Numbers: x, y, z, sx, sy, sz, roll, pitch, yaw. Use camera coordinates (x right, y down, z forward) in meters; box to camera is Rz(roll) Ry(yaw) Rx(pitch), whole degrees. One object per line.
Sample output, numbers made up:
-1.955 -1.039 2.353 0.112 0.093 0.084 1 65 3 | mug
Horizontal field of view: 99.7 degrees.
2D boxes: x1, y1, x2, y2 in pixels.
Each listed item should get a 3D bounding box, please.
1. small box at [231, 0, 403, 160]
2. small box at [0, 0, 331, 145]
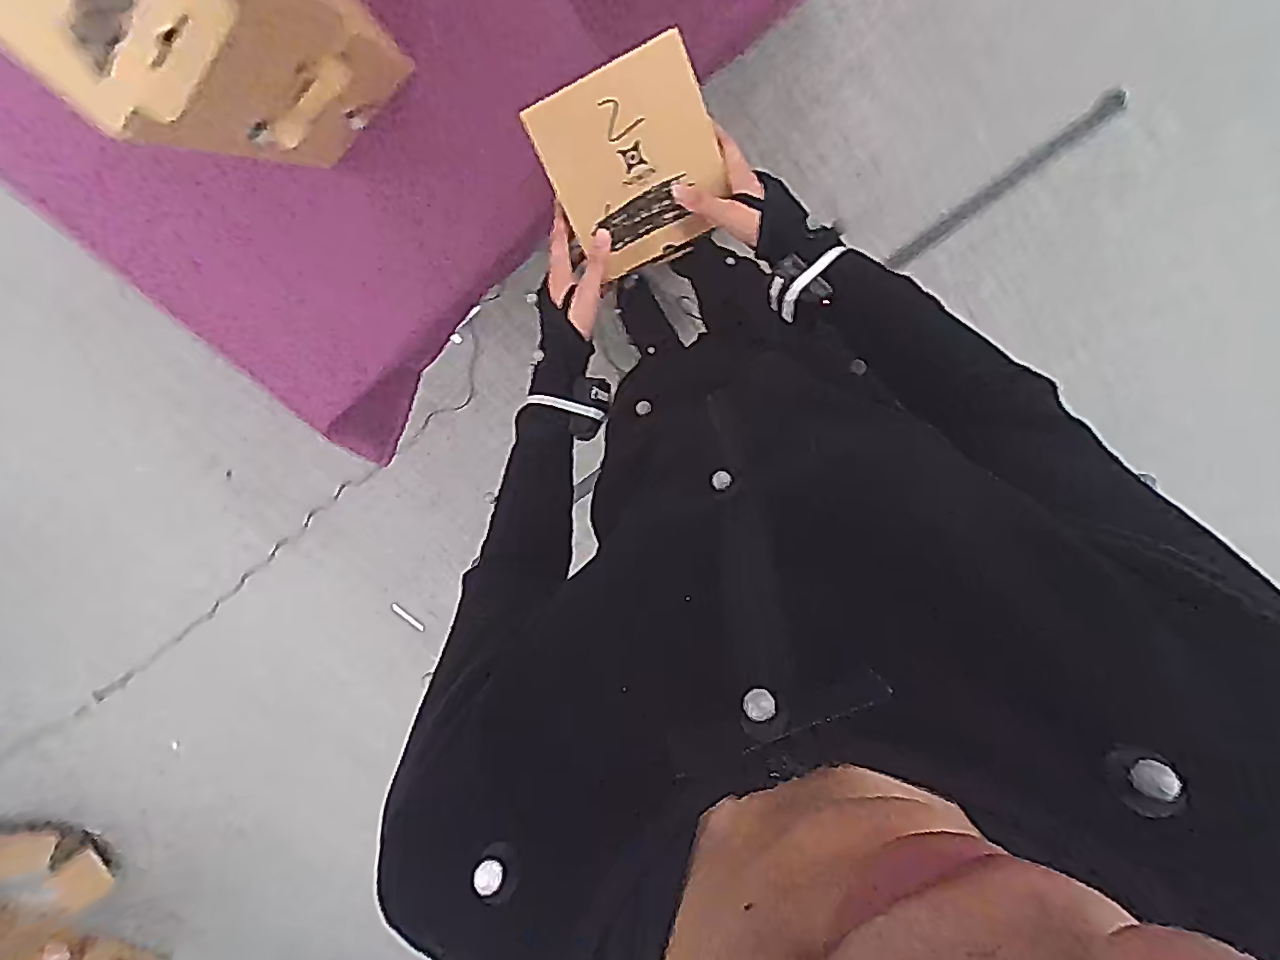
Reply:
-0.388 -0.464 0.558 0.168 0.176 0.179 -37 113 16 | small box
-0.384 -0.389 0.412 0.168 0.176 0.179 -41 111 17 | small box
